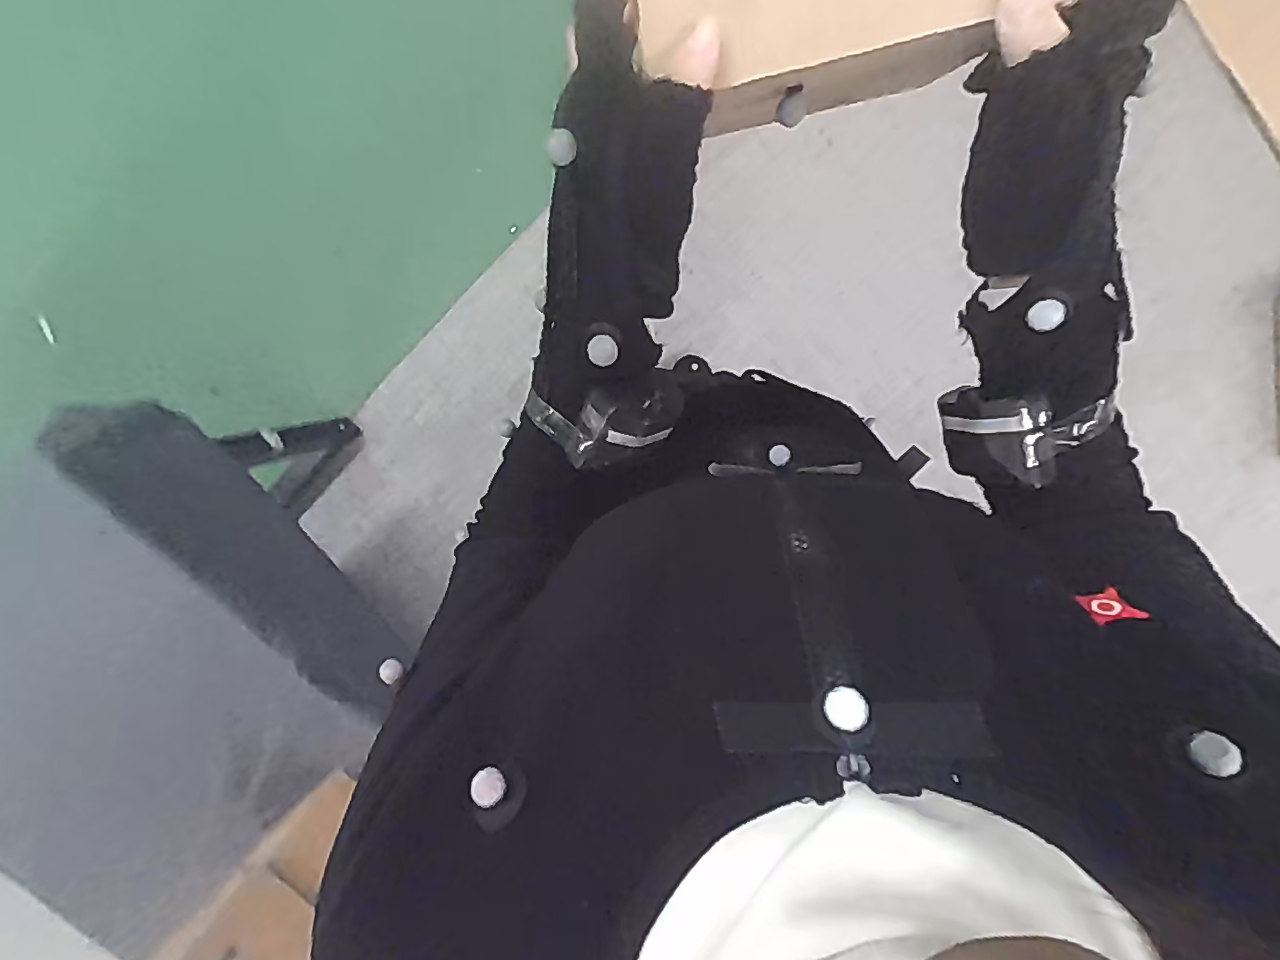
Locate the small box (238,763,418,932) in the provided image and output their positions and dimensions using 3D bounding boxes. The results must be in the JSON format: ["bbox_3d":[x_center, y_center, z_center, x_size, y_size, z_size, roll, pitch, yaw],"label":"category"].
[{"bbox_3d":[-0.434,0.534,0.735,0.168,0.176,0.179,42,99,-6],"label":"small box"}]

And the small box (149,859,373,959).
[{"bbox_3d":[-0.434,0.552,0.574,0.168,0.176,0.179,-41,98,11],"label":"small box"}]

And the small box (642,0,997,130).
[{"bbox_3d":[0.085,-0.299,0.268,0.179,0.176,0.168,-9,113,11],"label":"small box"}]
